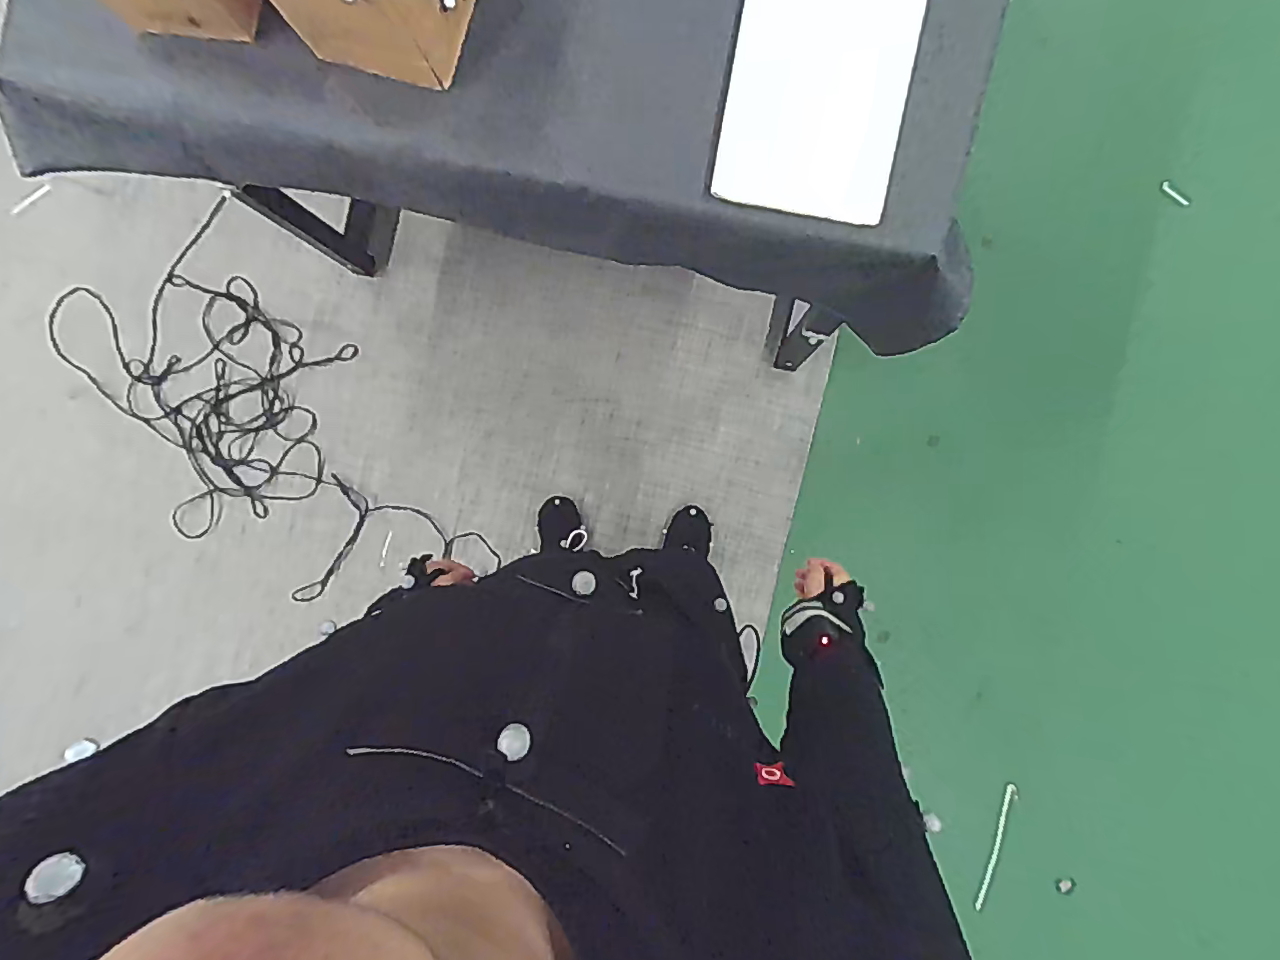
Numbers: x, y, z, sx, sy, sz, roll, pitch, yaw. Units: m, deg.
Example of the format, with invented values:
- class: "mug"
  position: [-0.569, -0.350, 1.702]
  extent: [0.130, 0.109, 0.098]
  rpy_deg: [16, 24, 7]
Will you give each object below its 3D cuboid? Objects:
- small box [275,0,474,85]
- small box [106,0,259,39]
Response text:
- class: "small box"
  position: [-0.300, -0.572, 0.579]
  extent: [0.179, 0.176, 0.168]
  rpy_deg: [17, 90, 3]
- class: "small box"
  position: [-0.550, -0.638, 0.596]
  extent: [0.168, 0.176, 0.179]
  rpy_deg: [8, 89, 3]
